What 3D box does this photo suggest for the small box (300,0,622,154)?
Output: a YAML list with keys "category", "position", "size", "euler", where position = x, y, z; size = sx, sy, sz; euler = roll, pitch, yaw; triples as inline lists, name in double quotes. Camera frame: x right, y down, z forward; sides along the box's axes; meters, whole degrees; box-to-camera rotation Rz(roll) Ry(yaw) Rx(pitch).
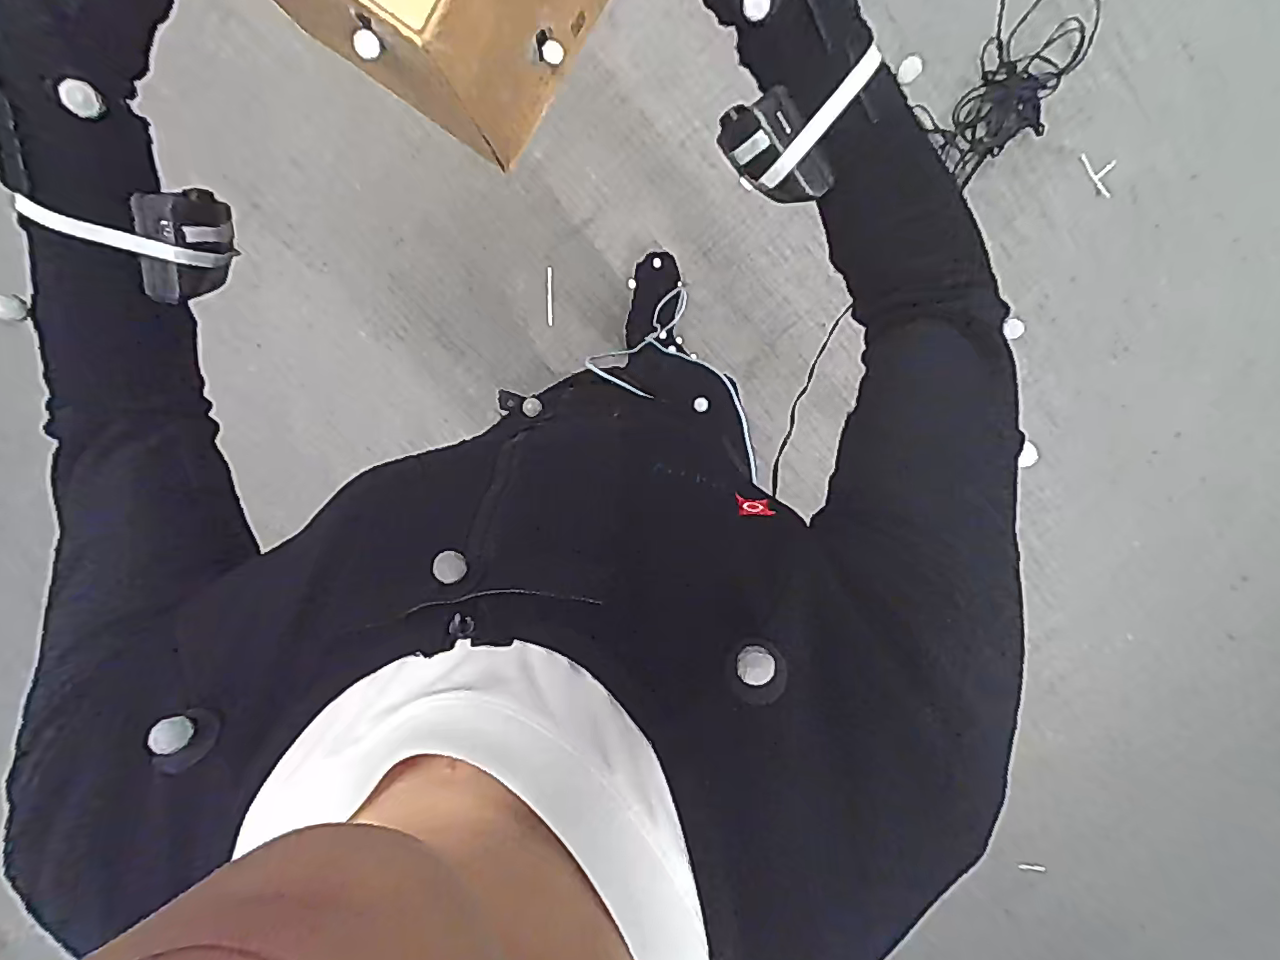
- category: "small box"
  position: [-0.118, -0.334, 0.312]
  size: [0.179, 0.176, 0.168]
  euler: [34, 98, -7]
